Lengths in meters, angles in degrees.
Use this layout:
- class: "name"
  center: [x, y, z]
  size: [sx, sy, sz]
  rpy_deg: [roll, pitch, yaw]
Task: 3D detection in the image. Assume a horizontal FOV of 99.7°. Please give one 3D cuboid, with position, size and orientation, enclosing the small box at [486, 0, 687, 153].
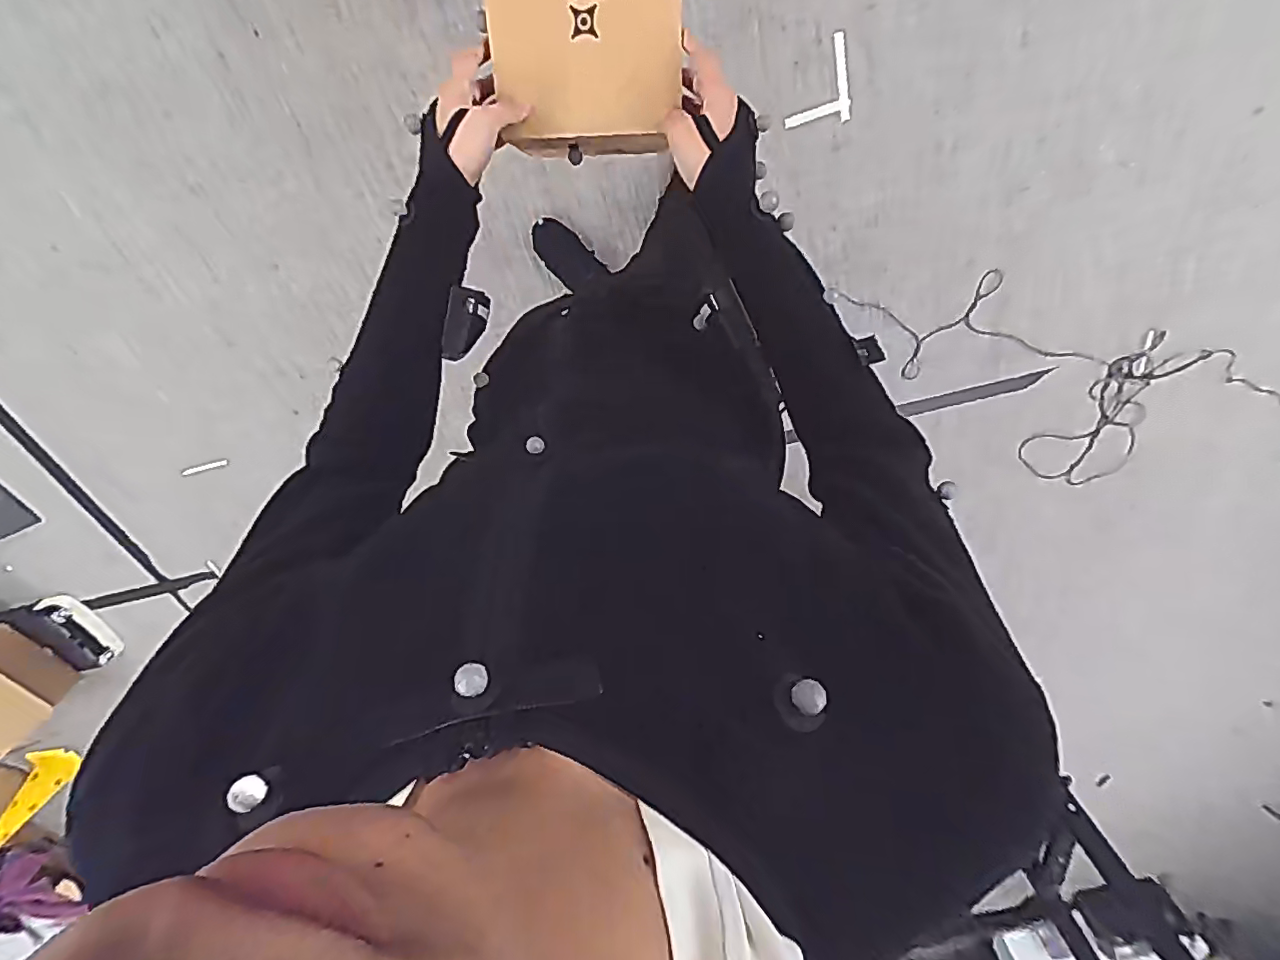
- class: "small box"
  center: [-0.044, -0.417, 0.510]
  size: [0.168, 0.176, 0.179]
  rpy_deg: [-3, 114, 0]
